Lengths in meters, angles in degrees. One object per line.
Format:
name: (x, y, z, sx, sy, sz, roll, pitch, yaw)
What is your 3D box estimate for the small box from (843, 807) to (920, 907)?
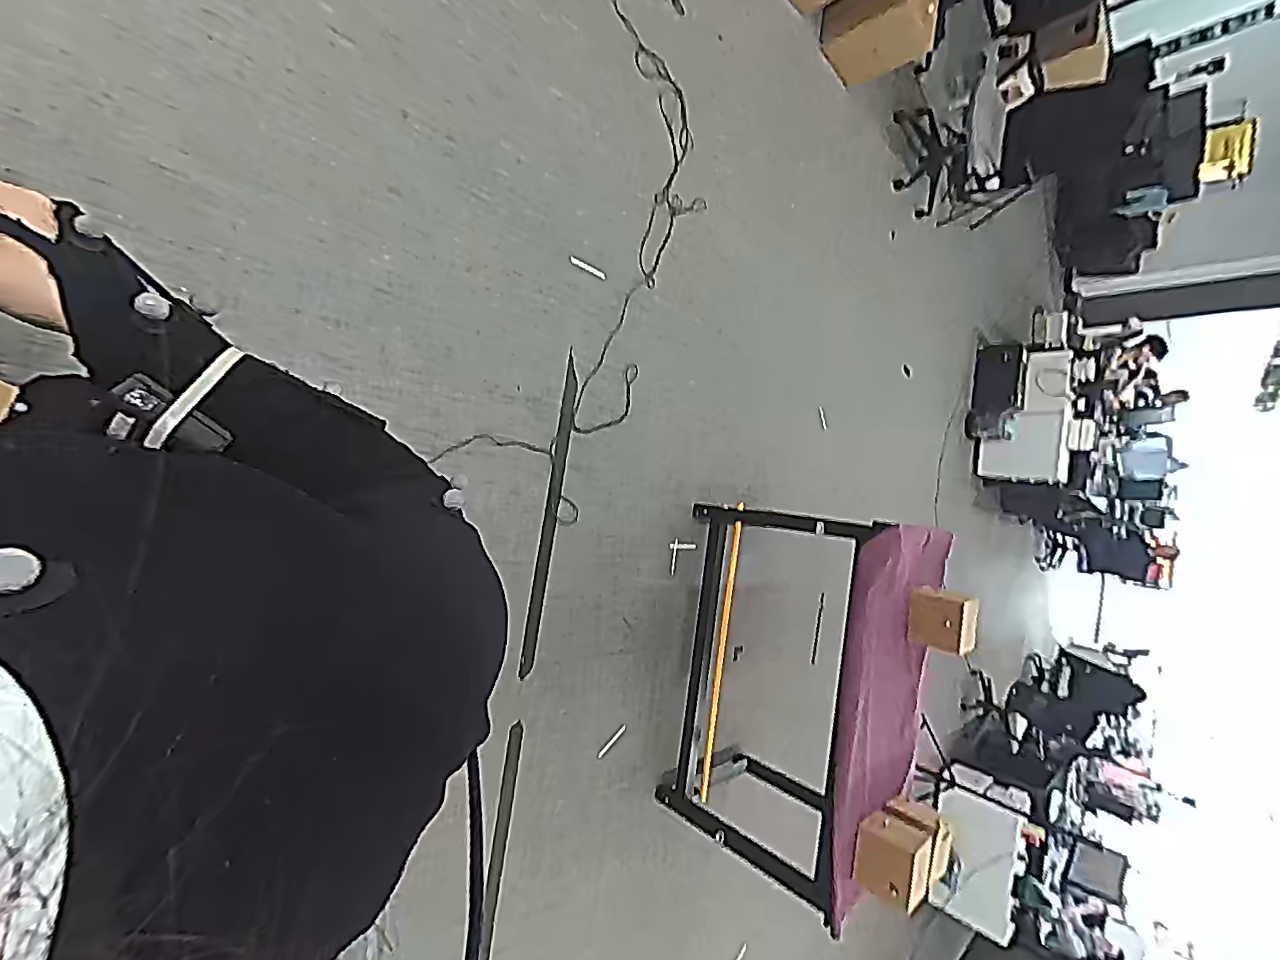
small box: (0.751, 1.166, 1.687, 0.168, 0.176, 0.179, 12, 85, -46)

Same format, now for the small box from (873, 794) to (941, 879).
small box: (0.892, 1.190, 1.828, 0.168, 0.176, 0.179, 18, 83, -42)

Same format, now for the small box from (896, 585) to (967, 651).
small box: (1.003, 0.471, 1.866, 0.168, 0.176, 0.179, 4, 91, -45)
